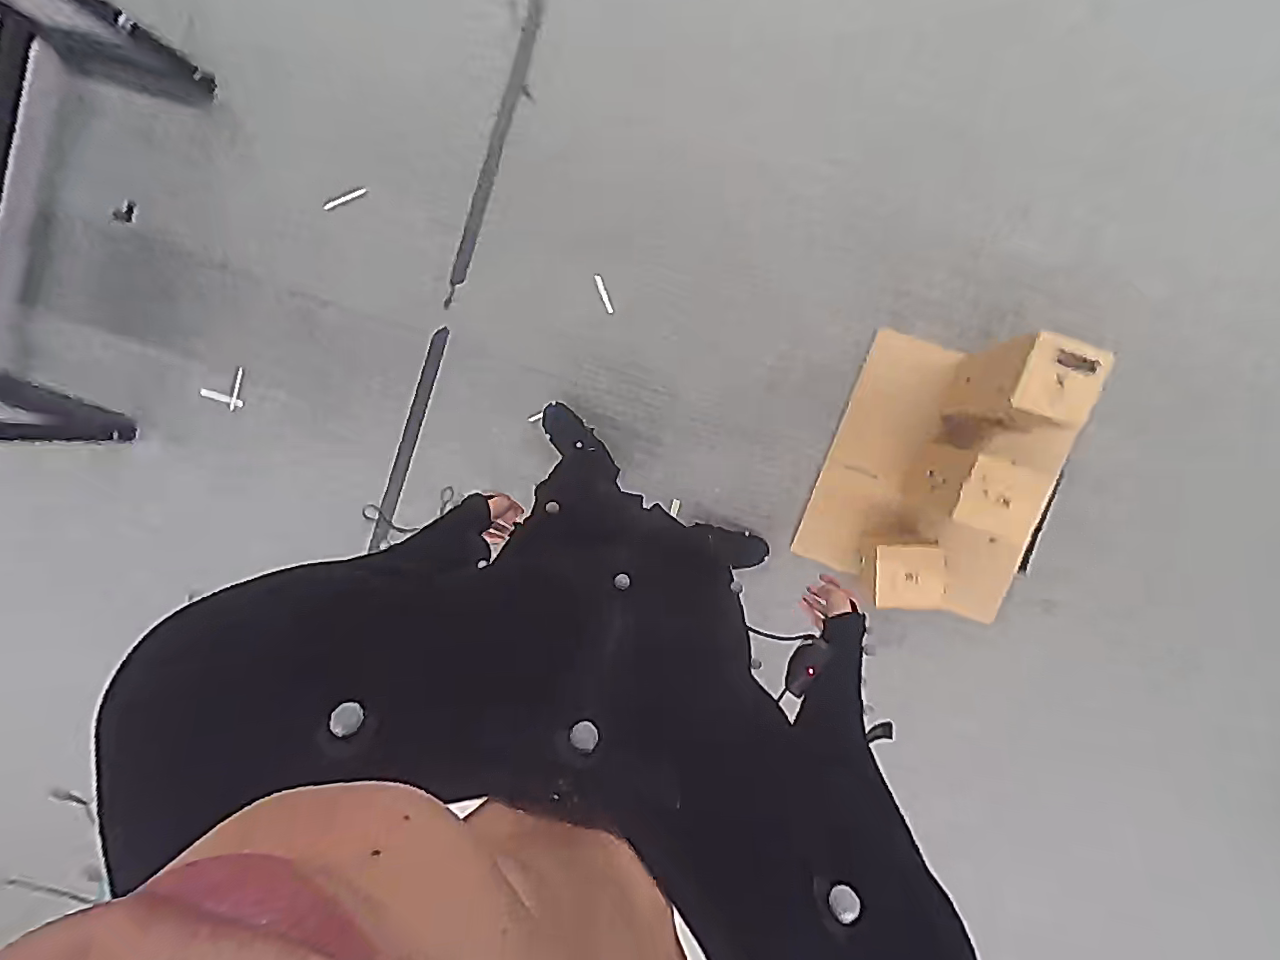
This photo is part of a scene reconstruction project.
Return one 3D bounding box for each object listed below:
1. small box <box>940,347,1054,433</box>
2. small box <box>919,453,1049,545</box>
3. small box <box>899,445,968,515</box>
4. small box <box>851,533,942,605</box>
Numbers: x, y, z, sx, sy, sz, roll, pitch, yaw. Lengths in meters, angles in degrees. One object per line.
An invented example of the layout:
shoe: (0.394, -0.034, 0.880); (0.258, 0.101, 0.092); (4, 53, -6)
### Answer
small box: (0.935, -0.231, 1.437); (0.168, 0.176, 0.179); (21, 95, 3)
small box: (0.818, 0.036, 1.306); (0.179, 0.176, 0.168); (23, 96, 4)
small box: (0.835, 0.013, 1.468); (0.168, 0.176, 0.179); (22, 96, 4)
small box: (0.705, 0.241, 1.498); (0.179, 0.176, 0.168); (1, 94, 4)
